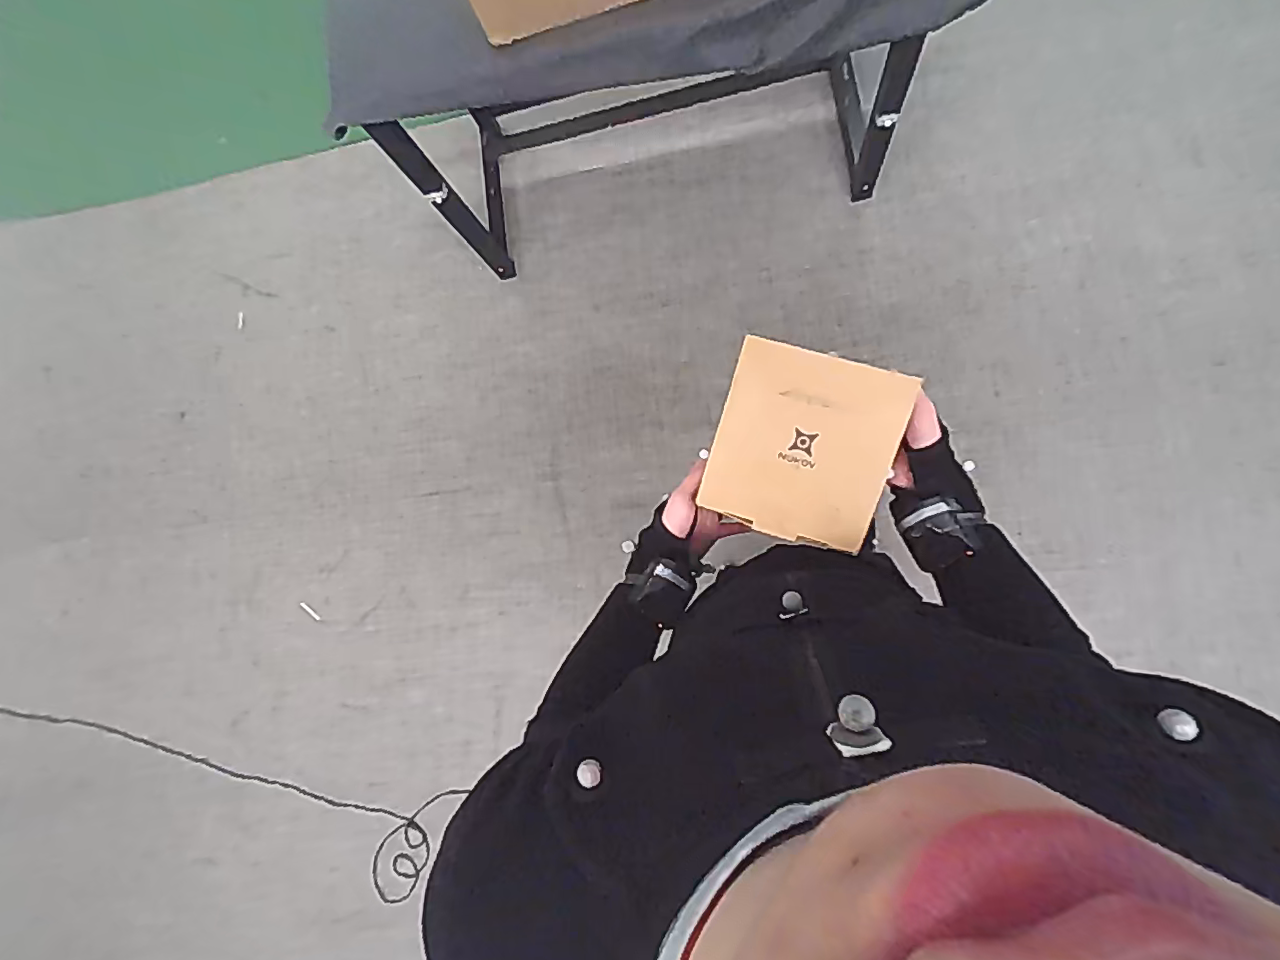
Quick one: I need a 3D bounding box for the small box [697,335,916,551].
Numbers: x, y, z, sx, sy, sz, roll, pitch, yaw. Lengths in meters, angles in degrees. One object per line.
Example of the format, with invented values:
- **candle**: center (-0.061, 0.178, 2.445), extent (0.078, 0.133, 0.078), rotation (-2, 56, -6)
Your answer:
- **small box**: center (0.171, -0.046, 0.598), extent (0.168, 0.176, 0.179), rotation (16, 100, 8)
